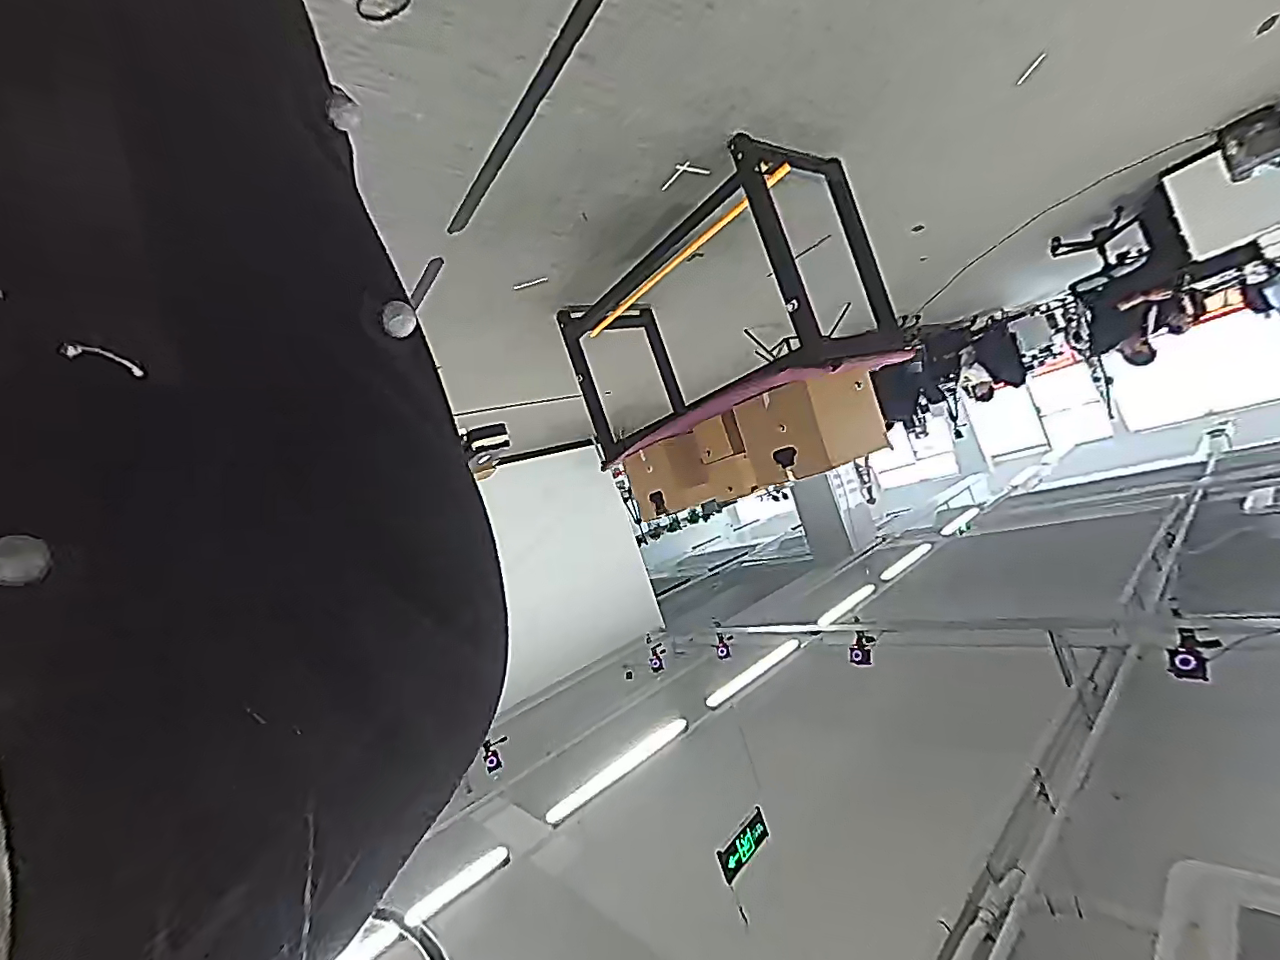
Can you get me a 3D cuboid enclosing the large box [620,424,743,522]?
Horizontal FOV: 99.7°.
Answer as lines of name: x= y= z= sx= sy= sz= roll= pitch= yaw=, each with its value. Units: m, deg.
large box: x=0.185 y=-0.036 z=2.453 sx=0.408 sy=0.320 sz=0.320 roll=-18 pitch=179 yaw=-39
